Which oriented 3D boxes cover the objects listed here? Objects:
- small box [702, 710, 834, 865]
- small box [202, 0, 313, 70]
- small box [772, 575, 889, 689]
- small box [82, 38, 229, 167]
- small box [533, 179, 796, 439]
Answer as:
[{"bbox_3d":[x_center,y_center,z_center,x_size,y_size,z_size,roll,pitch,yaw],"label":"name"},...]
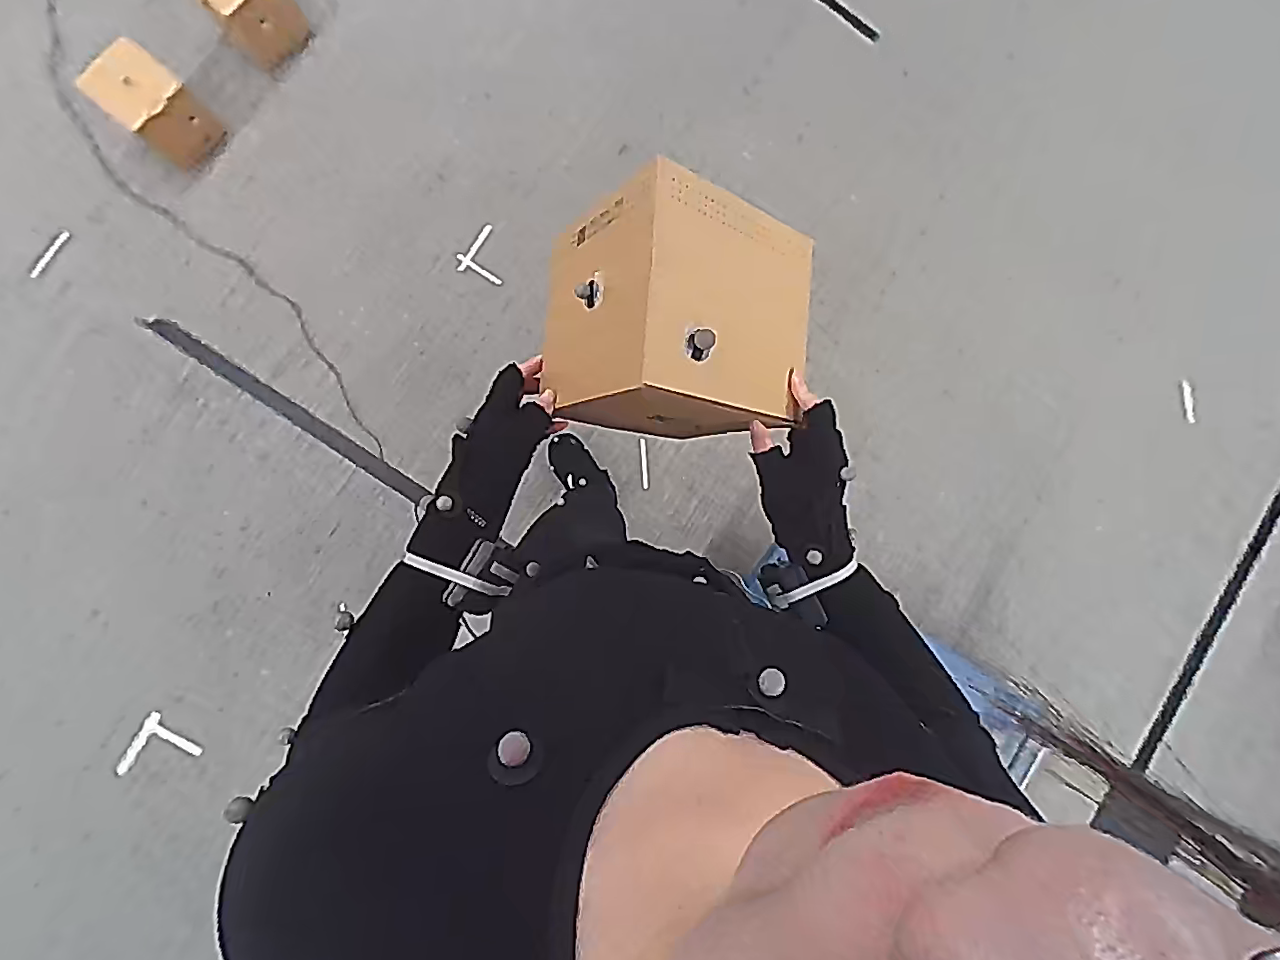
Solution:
[{"bbox_3d":[0.244,0.601,1.085,0.168,0.176,0.179,39,87,-3],"label":"small box"},{"bbox_3d":[-0.986,-1.211,1.376,0.168,0.176,0.179,43,86,-3],"label":"small box"},{"bbox_3d":[0.431,0.346,1.267,0.168,0.176,0.179,38,86,-3],"label":"small box"},{"bbox_3d":[-1.195,-0.926,1.353,0.179,0.176,0.168,40,85,-2],"label":"small box"},{"bbox_3d":[0.021,-0.136,0.489,0.179,0.168,0.176,5,87,-36],"label":"small box"}]
